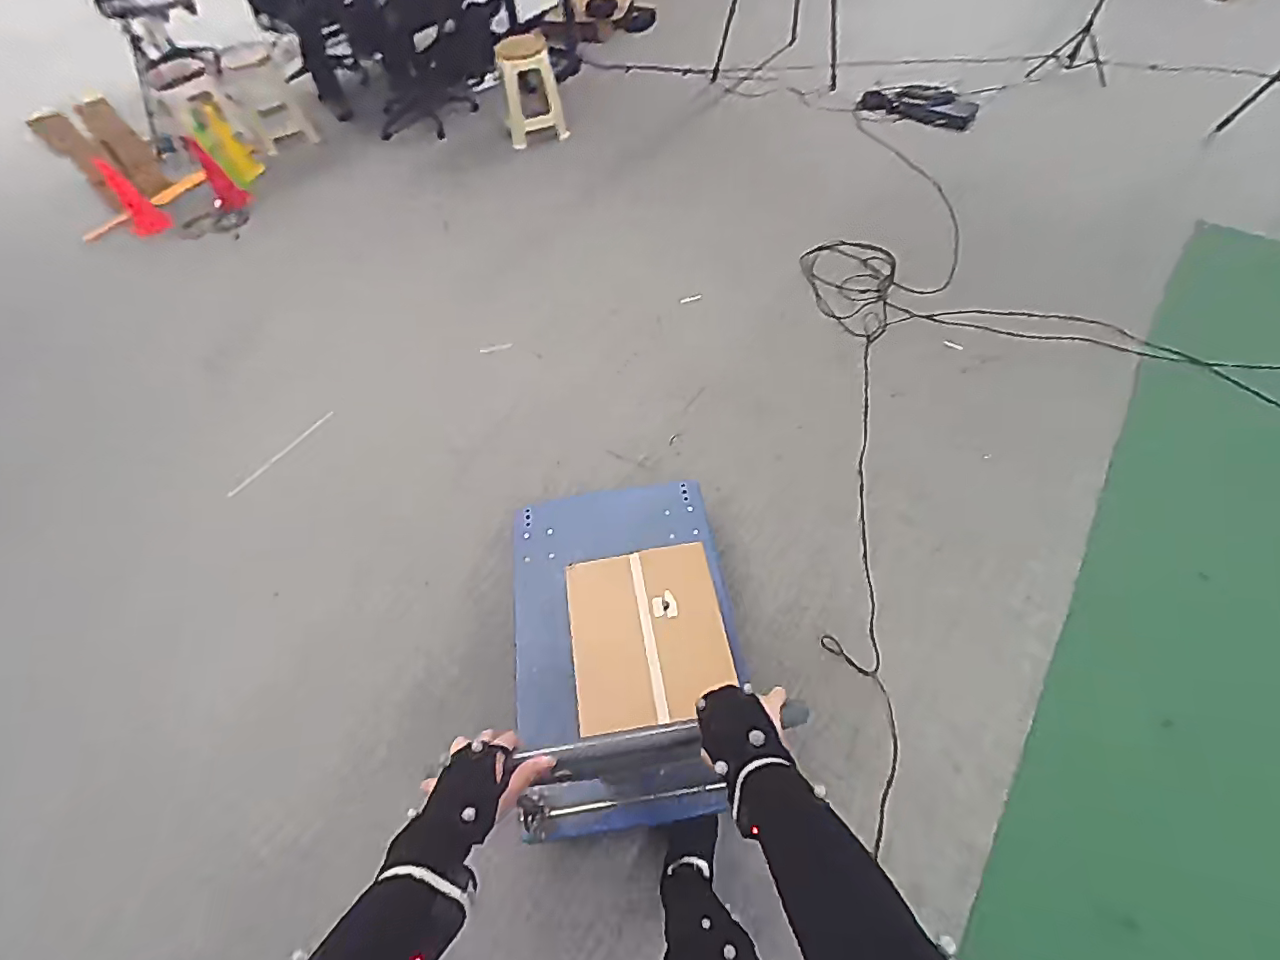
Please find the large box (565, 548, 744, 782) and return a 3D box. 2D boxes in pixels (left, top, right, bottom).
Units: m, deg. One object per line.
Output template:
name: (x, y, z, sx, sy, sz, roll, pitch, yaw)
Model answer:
large box: (0.024, 0.426, 1.241, 0.320, 0.320, 0.408, -10, 55, -3)
